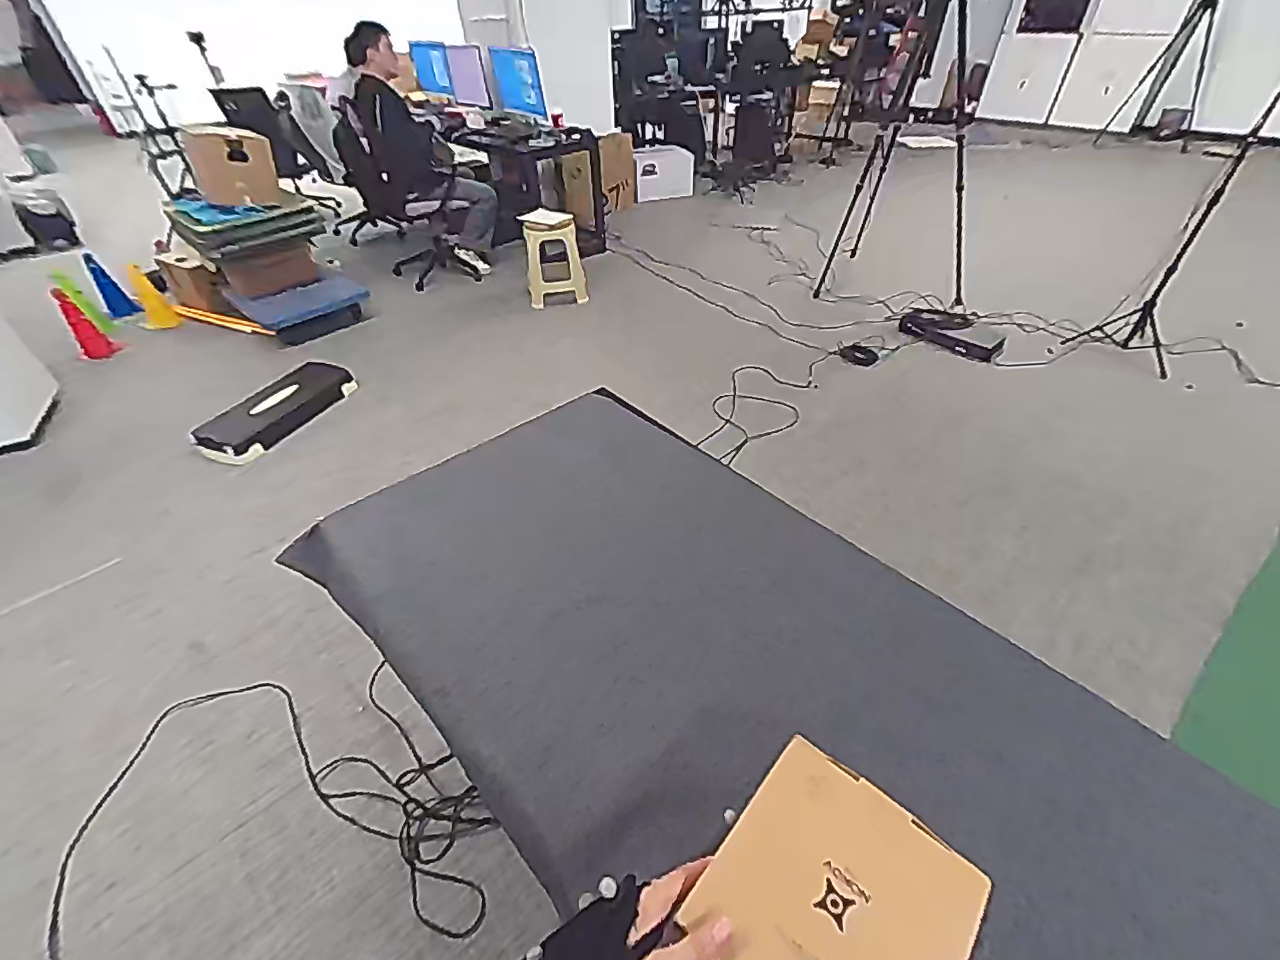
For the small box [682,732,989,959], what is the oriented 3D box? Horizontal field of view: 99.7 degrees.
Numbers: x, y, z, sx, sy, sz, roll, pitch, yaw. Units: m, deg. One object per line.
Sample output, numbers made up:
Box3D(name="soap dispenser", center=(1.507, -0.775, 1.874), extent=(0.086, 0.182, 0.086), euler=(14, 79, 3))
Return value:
Box3D(name="small box", center=(0.145, 0.359, 0.447), extent=(0.168, 0.176, 0.179), euler=(29, 51, 30))
